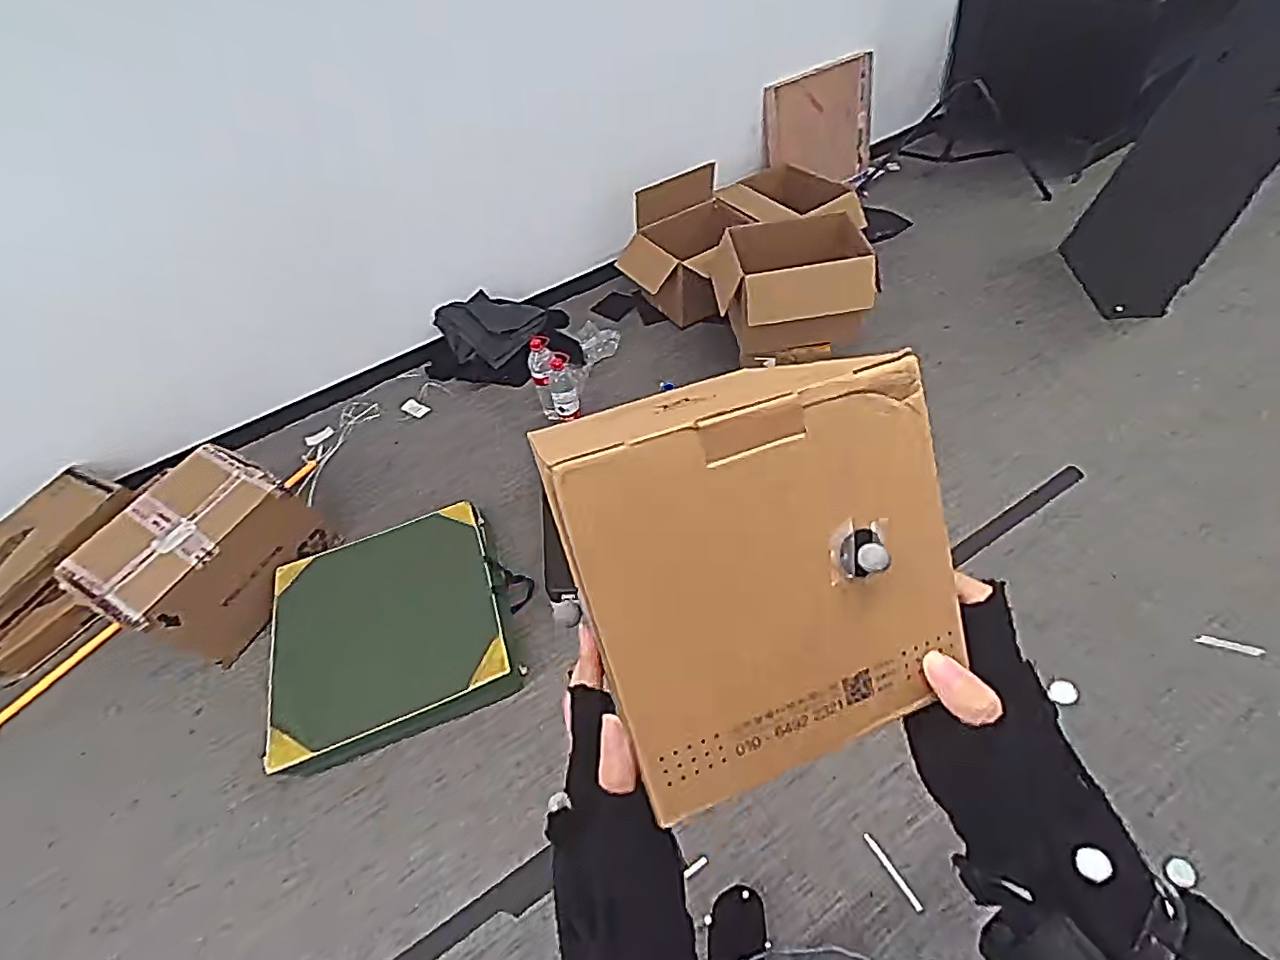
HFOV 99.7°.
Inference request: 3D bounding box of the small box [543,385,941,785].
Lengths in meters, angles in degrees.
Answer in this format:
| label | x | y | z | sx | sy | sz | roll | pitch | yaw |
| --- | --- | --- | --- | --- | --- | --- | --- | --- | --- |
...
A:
| label | x | y | z | sx | sy | sz | roll | pitch | yaw |
| --- | --- | --- | --- | --- | --- | --- | --- | --- | --- |
| small box | 0.048 | 0.048 | 0.330 | 0.168 | 0.176 | 0.179 | -18 | 11 | -10 |
